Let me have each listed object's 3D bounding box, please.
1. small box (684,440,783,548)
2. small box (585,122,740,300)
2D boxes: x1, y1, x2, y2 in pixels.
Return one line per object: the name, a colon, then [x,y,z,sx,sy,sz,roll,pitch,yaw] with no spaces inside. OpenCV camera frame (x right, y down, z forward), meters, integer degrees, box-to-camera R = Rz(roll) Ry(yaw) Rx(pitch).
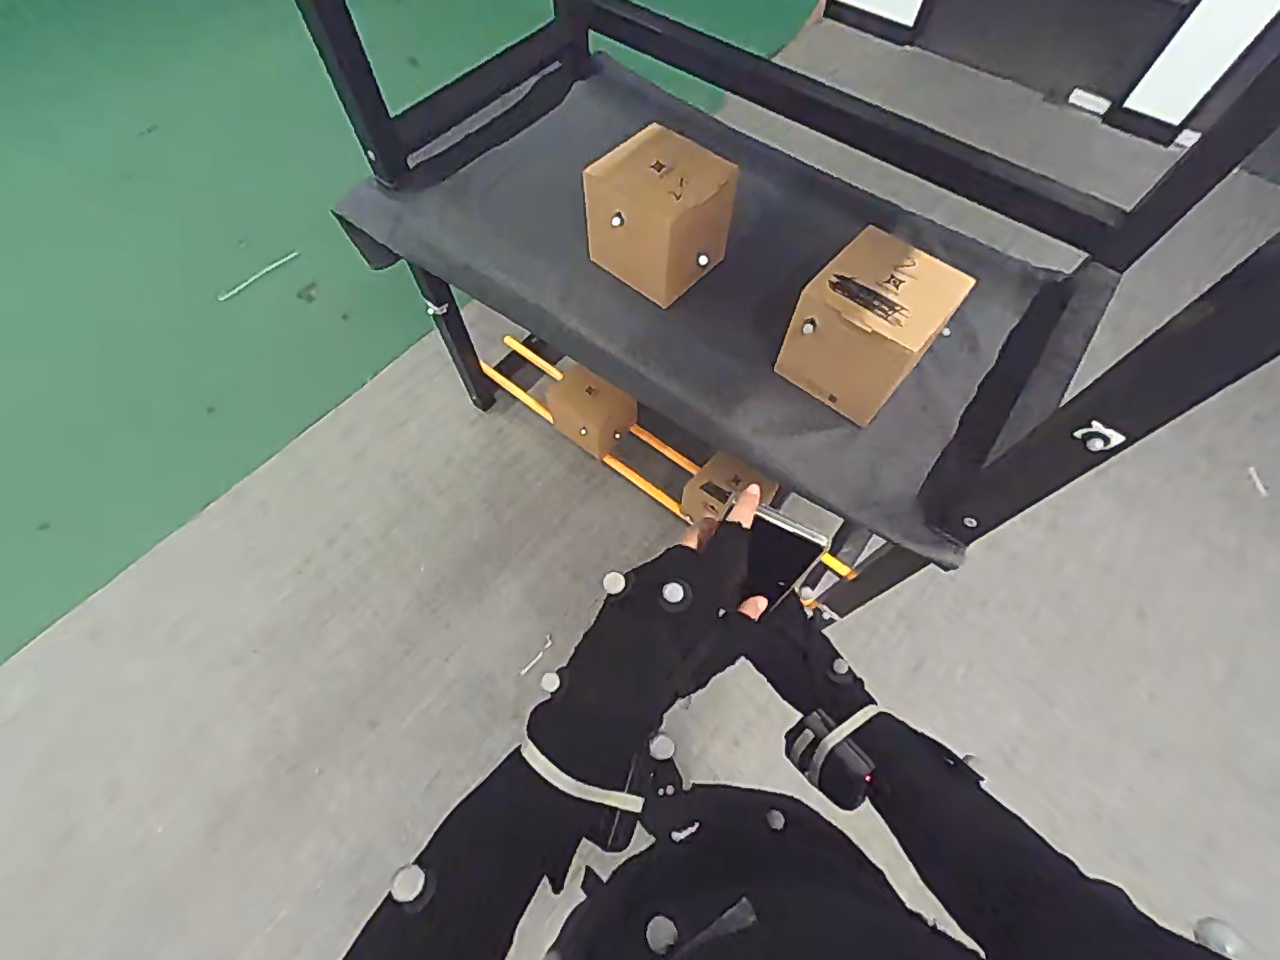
small box: [0.223,0.042,1.340,0.168,0.176,0.179,39,70,17]
small box: [0.032,-0.428,0.876,0.179,0.176,0.168,39,70,17]
